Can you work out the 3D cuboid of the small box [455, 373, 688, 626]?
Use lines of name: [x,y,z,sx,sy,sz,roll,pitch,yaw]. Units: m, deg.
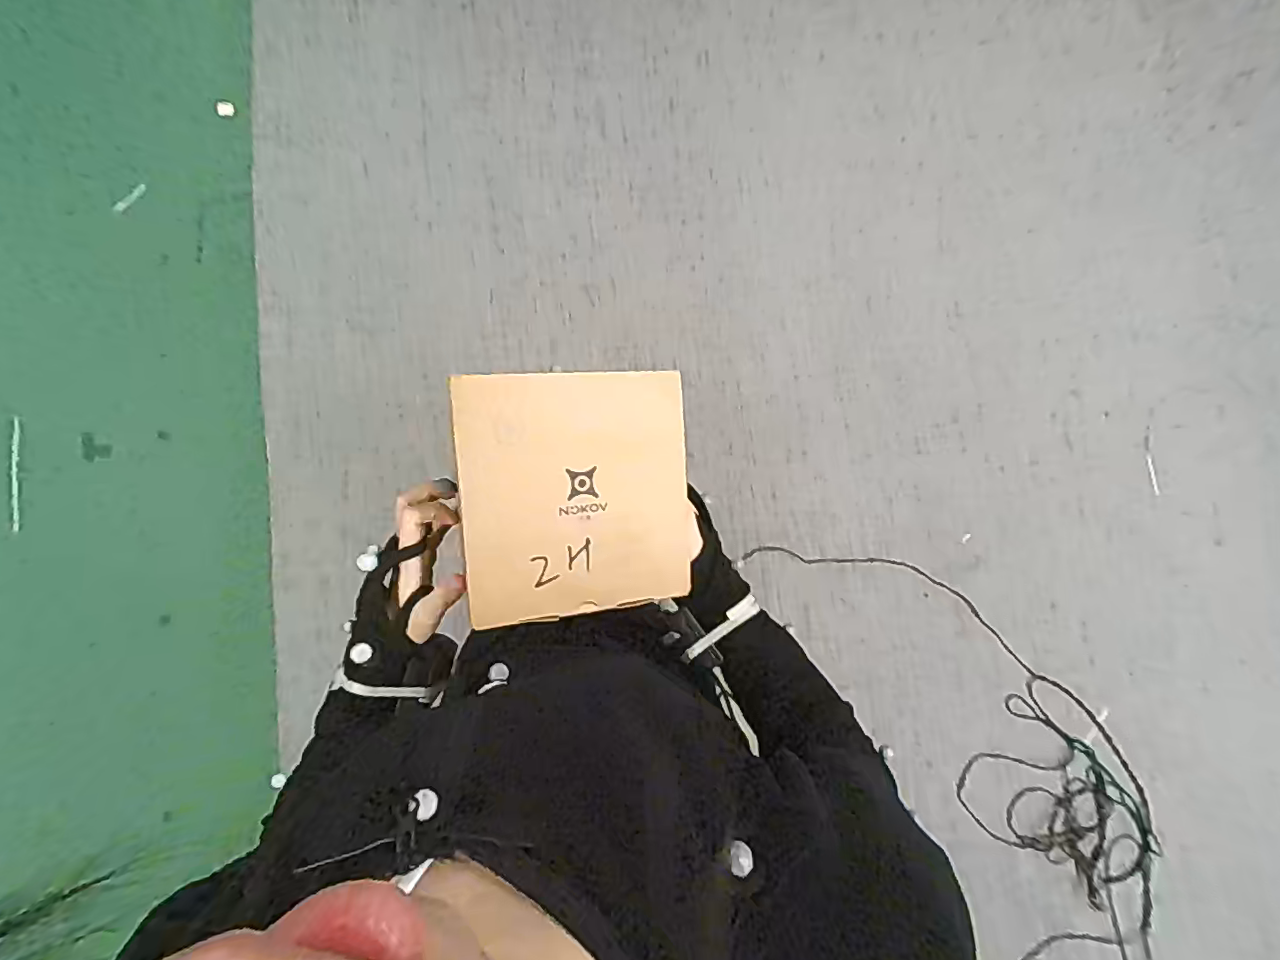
small box: [-0.069,0.006,0.469,0.168,0.176,0.179,-4,96,-19]
